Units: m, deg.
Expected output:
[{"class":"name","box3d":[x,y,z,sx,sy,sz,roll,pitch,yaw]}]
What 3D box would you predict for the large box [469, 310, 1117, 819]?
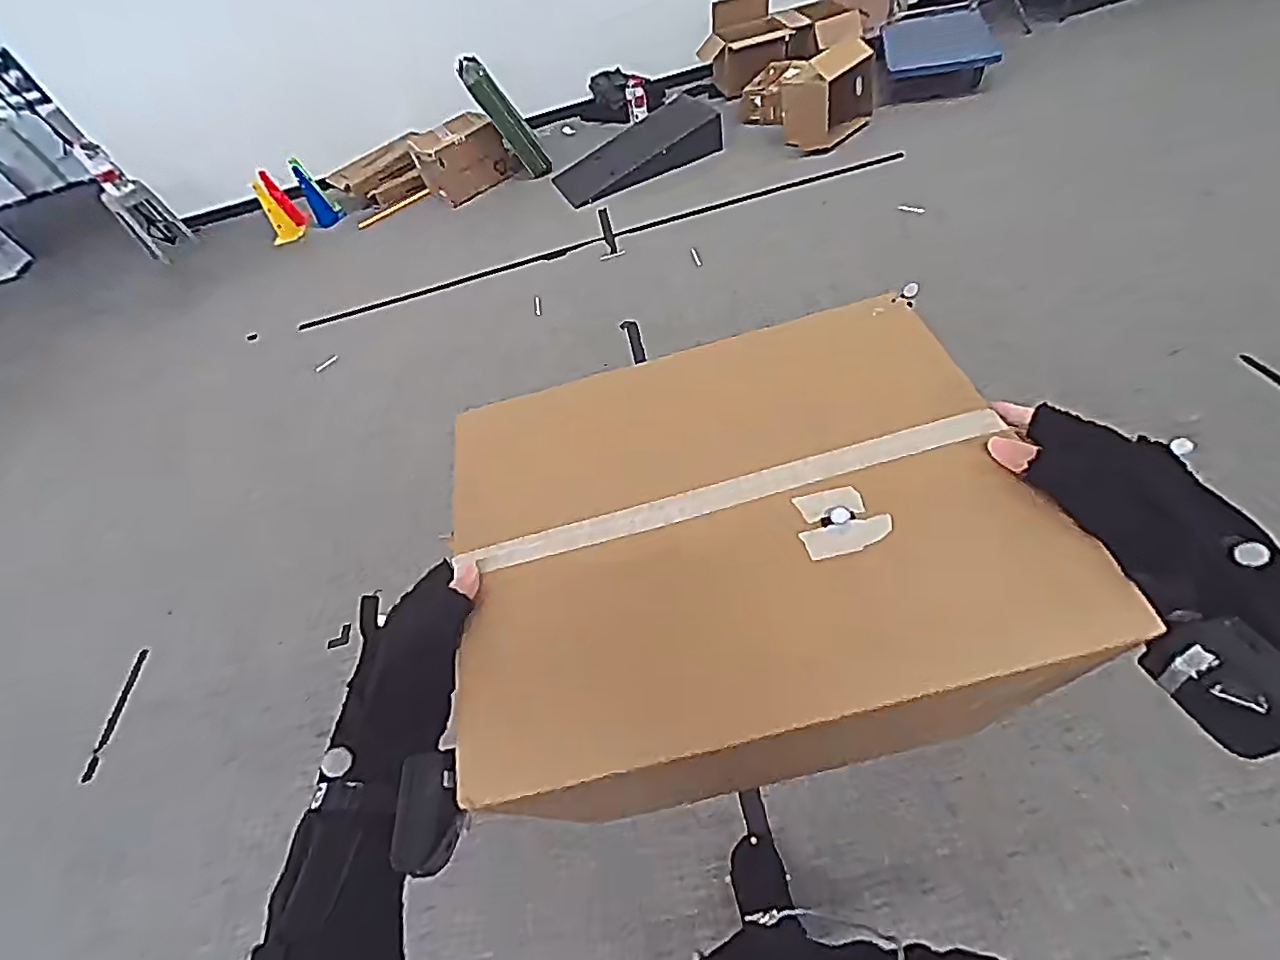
[{"class":"large box","box3d":[0.088,0.100,0.529,0.408,0.320,0.320,-15,55,1]}]
